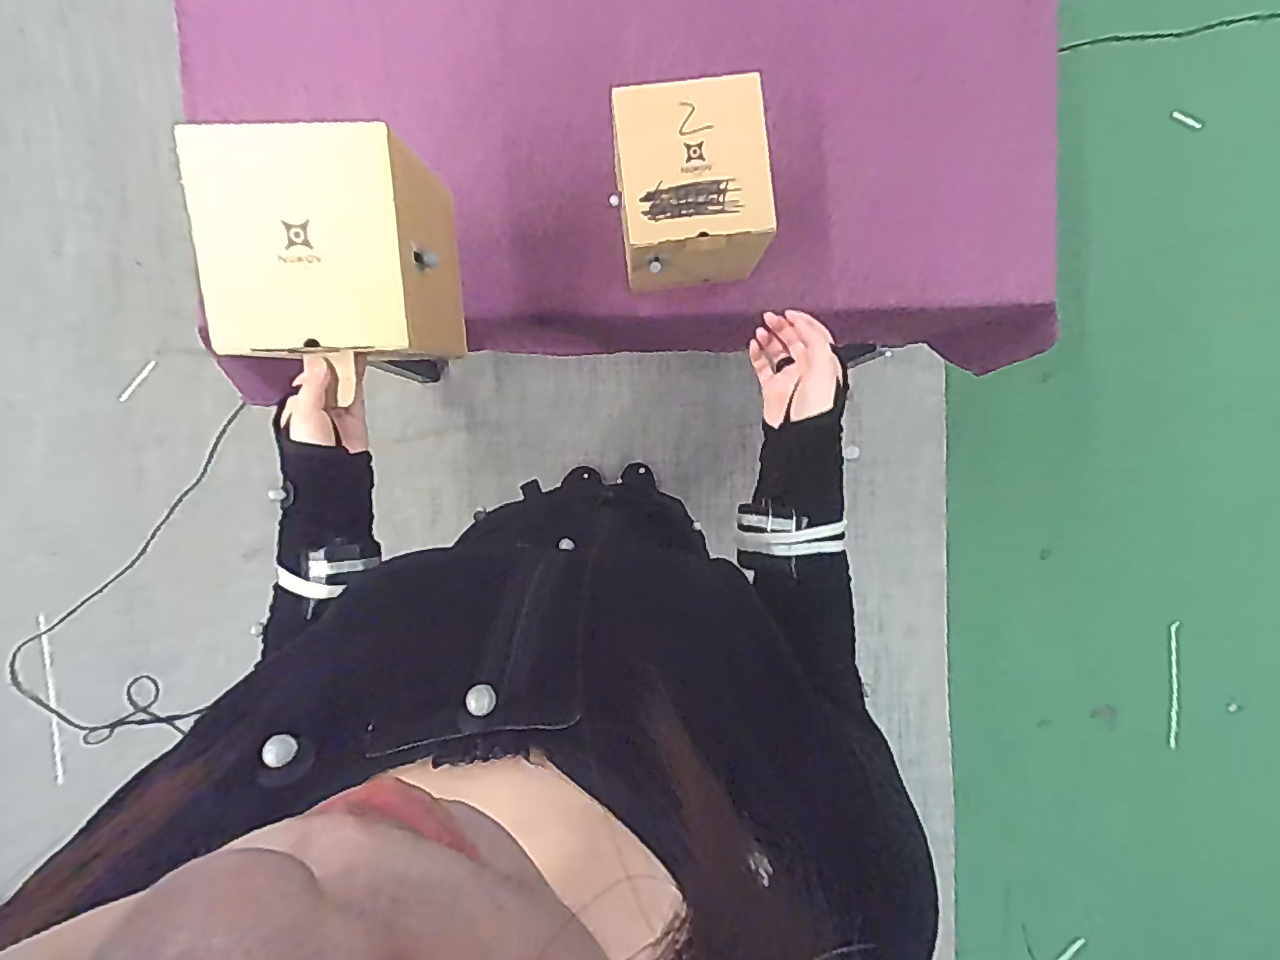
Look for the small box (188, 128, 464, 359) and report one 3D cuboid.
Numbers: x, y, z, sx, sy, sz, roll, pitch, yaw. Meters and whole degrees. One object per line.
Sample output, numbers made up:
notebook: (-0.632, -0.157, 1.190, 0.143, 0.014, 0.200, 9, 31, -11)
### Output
small box: (-0.280, -0.211, 0.526, 0.168, 0.176, 0.179, -1, 102, -2)
